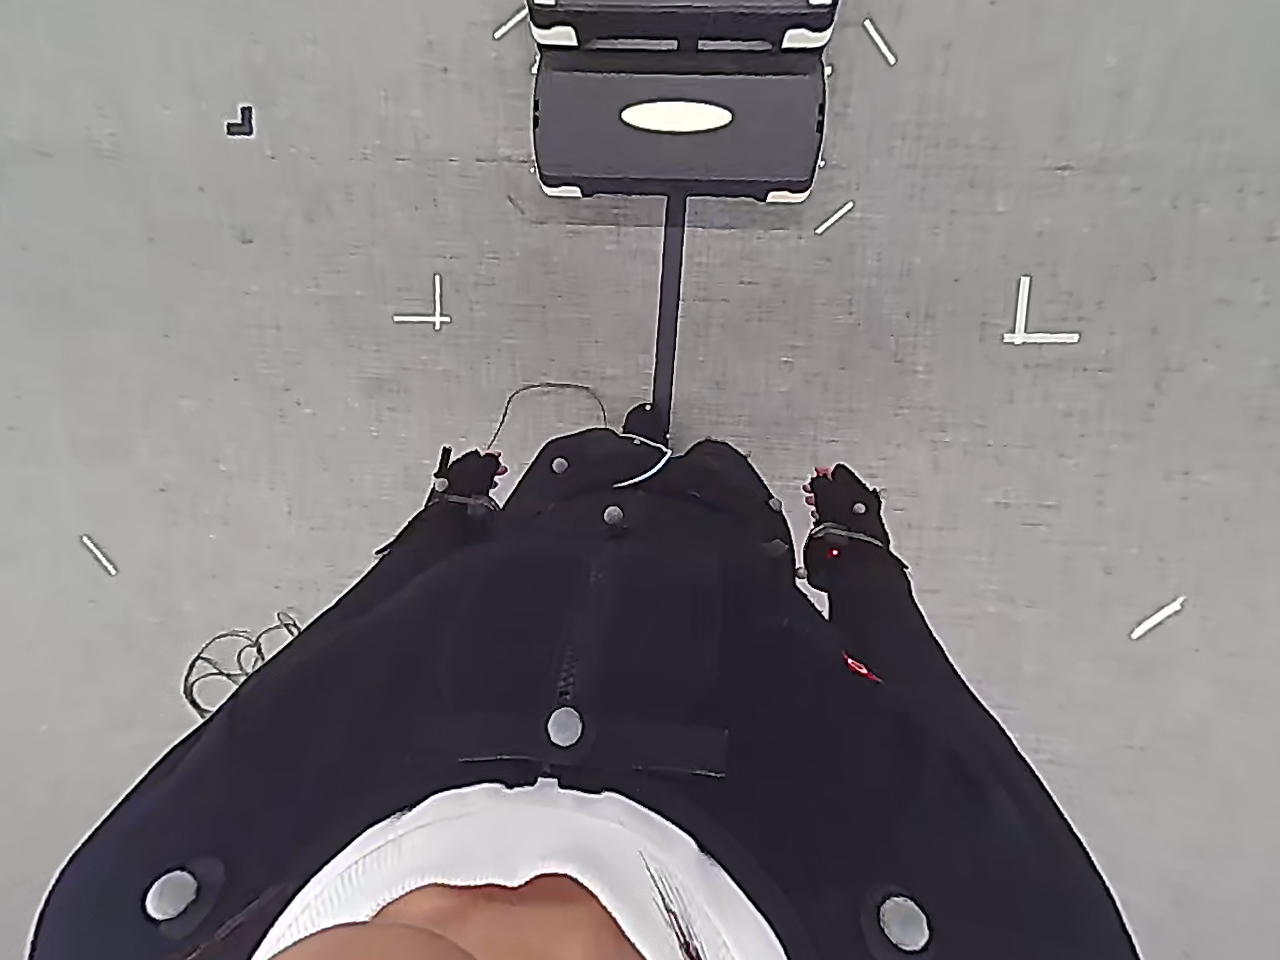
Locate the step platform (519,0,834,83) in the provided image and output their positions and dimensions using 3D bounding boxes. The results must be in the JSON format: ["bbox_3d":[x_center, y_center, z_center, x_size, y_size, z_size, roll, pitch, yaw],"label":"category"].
[{"bbox_3d":[0.077,-1.080,1.186,0.684,0.204,0.286,2,99,3],"label":"step platform"}]
